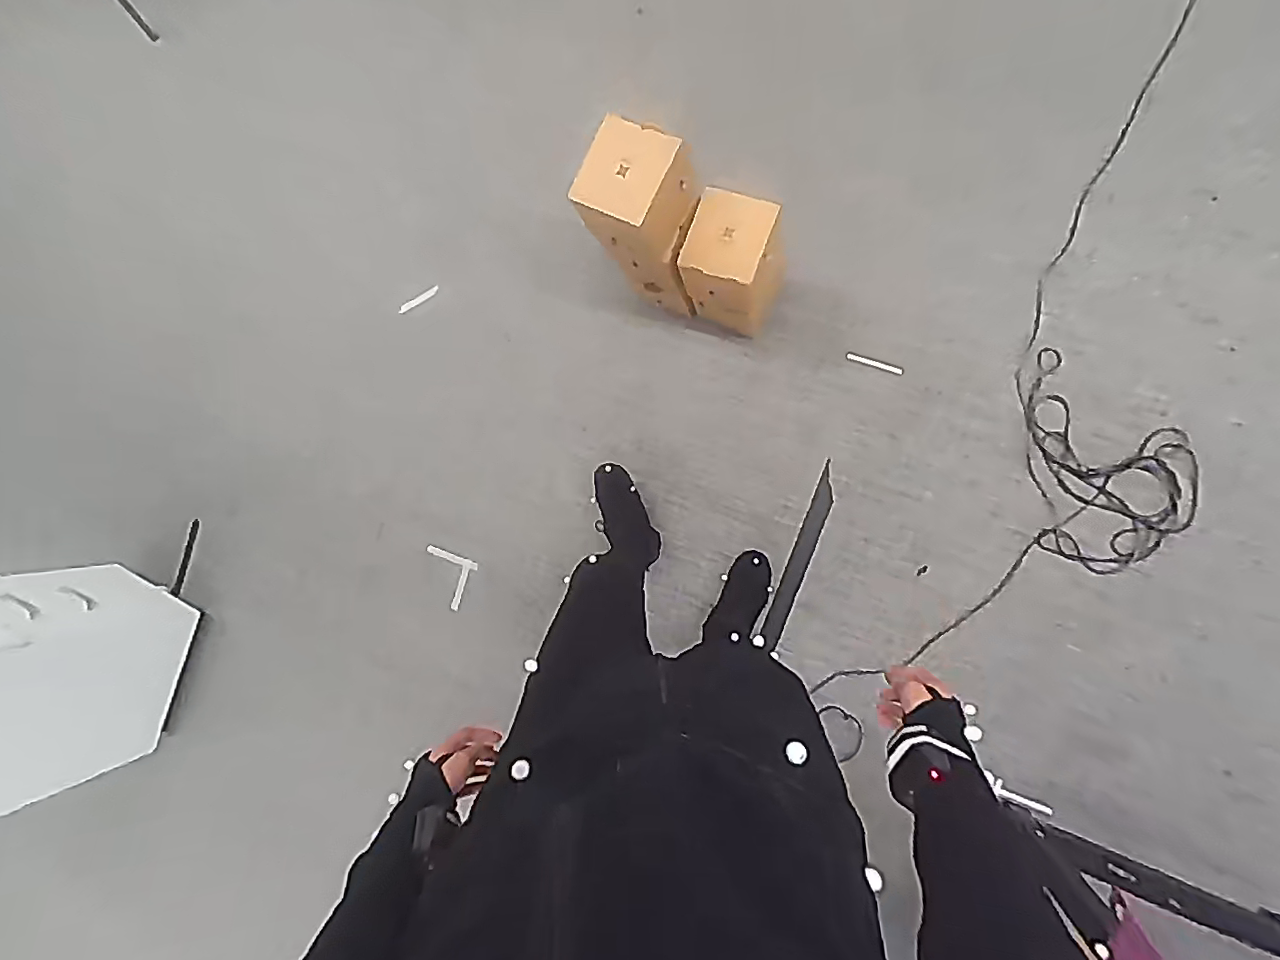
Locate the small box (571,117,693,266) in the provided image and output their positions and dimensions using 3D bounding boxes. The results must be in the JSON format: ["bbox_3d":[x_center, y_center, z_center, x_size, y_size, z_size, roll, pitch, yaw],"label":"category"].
[{"bbox_3d":[-0.007,-0.564,1.076,0.168,0.176,0.179,29,95,14],"label":"small box"}]
